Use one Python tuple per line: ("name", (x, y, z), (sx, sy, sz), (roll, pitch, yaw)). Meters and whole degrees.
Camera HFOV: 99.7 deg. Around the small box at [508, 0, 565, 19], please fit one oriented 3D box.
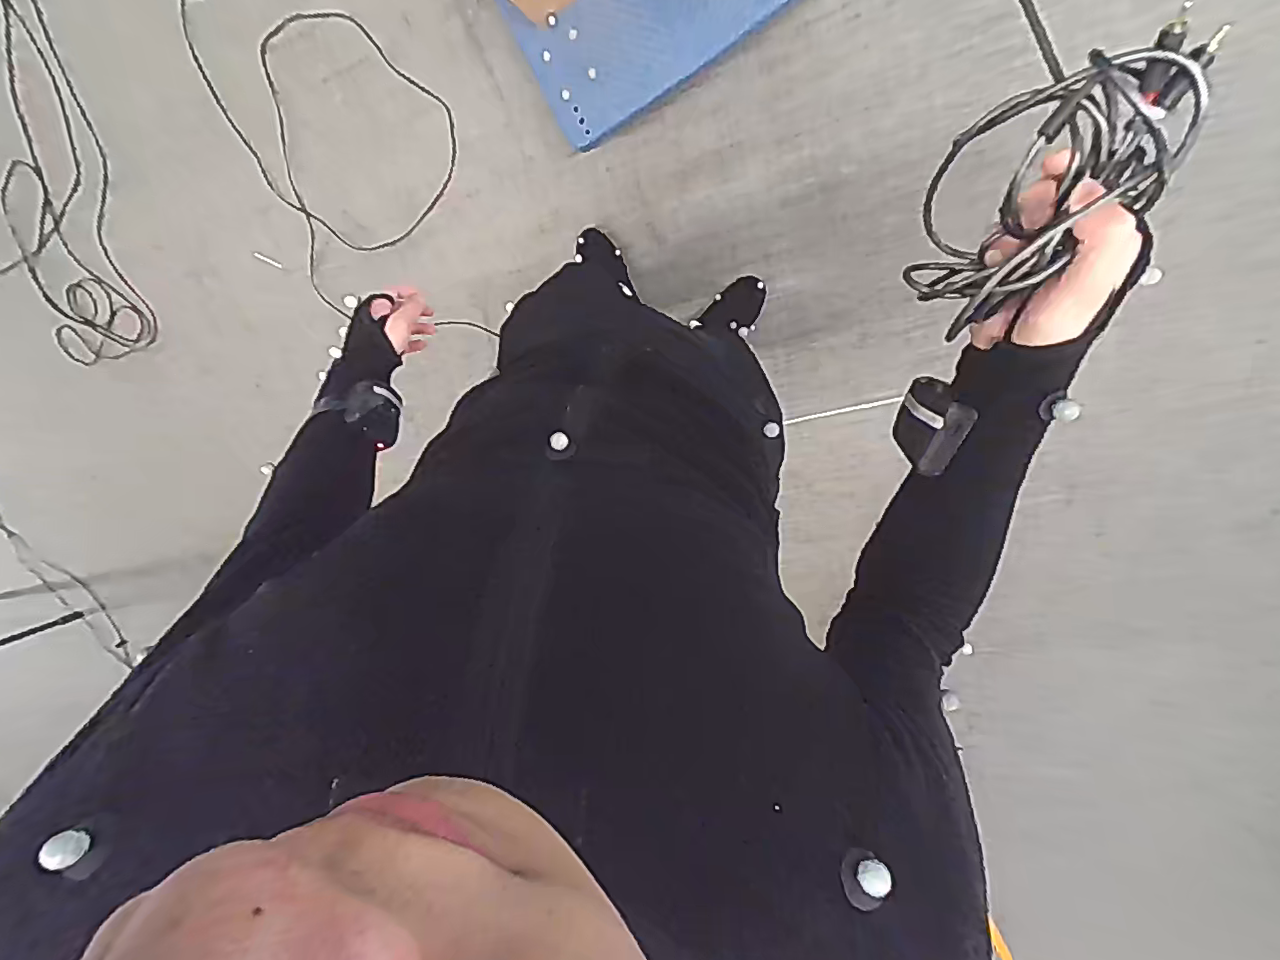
("small box", (-0.198, -1.000, 0.991), (0.168, 0.176, 0.179), (-25, 106, 21))
